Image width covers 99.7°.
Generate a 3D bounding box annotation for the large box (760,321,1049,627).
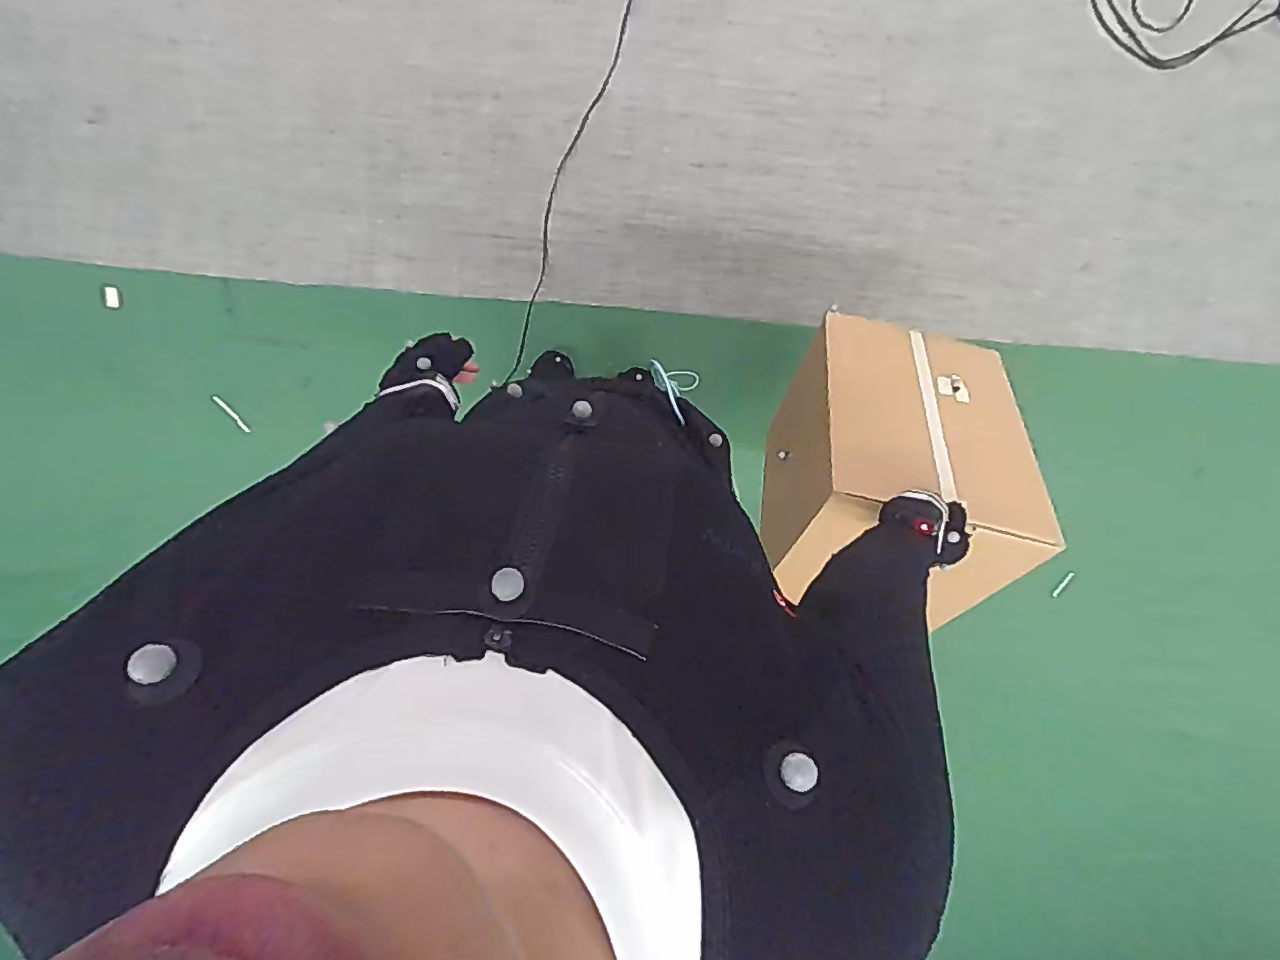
[{"bbox_3d":[0.412,-0.009,0.957,0.320,0.408,0.320,15,141,-1],"label":"large box"}]
